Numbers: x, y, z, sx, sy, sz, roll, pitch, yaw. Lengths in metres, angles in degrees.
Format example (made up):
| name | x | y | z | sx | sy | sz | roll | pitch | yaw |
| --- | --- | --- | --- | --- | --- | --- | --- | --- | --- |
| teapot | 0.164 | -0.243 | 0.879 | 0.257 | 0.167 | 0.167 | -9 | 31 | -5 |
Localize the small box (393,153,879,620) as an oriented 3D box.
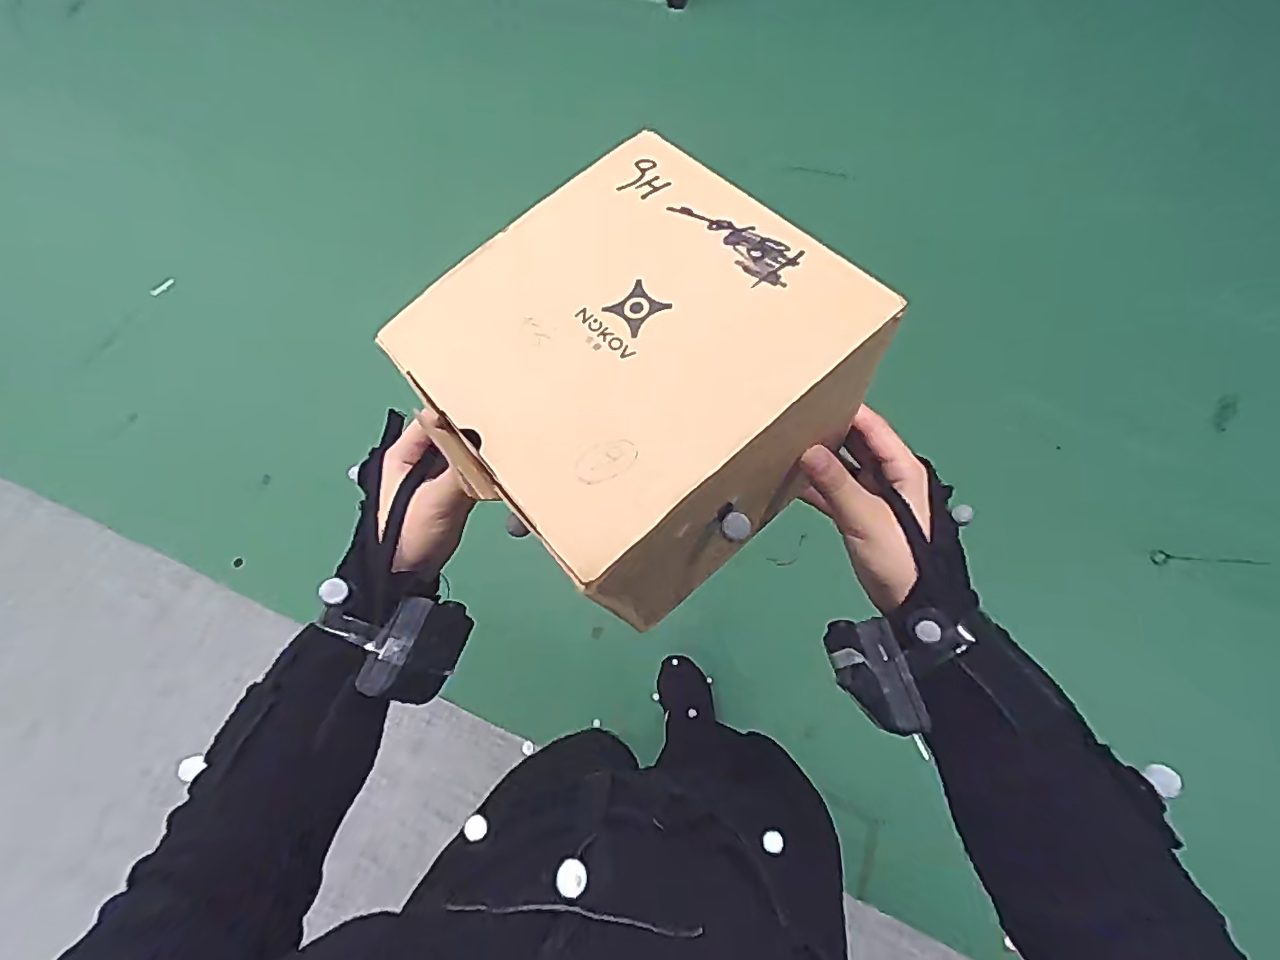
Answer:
| name | x | y | z | sx | sy | sz | roll | pitch | yaw |
| --- | --- | --- | --- | --- | --- | --- | --- | --- | --- |
| small box | 0.003 | -0.038 | 0.323 | 0.179 | 0.176 | 0.168 | -41 | 68 | -8 |
